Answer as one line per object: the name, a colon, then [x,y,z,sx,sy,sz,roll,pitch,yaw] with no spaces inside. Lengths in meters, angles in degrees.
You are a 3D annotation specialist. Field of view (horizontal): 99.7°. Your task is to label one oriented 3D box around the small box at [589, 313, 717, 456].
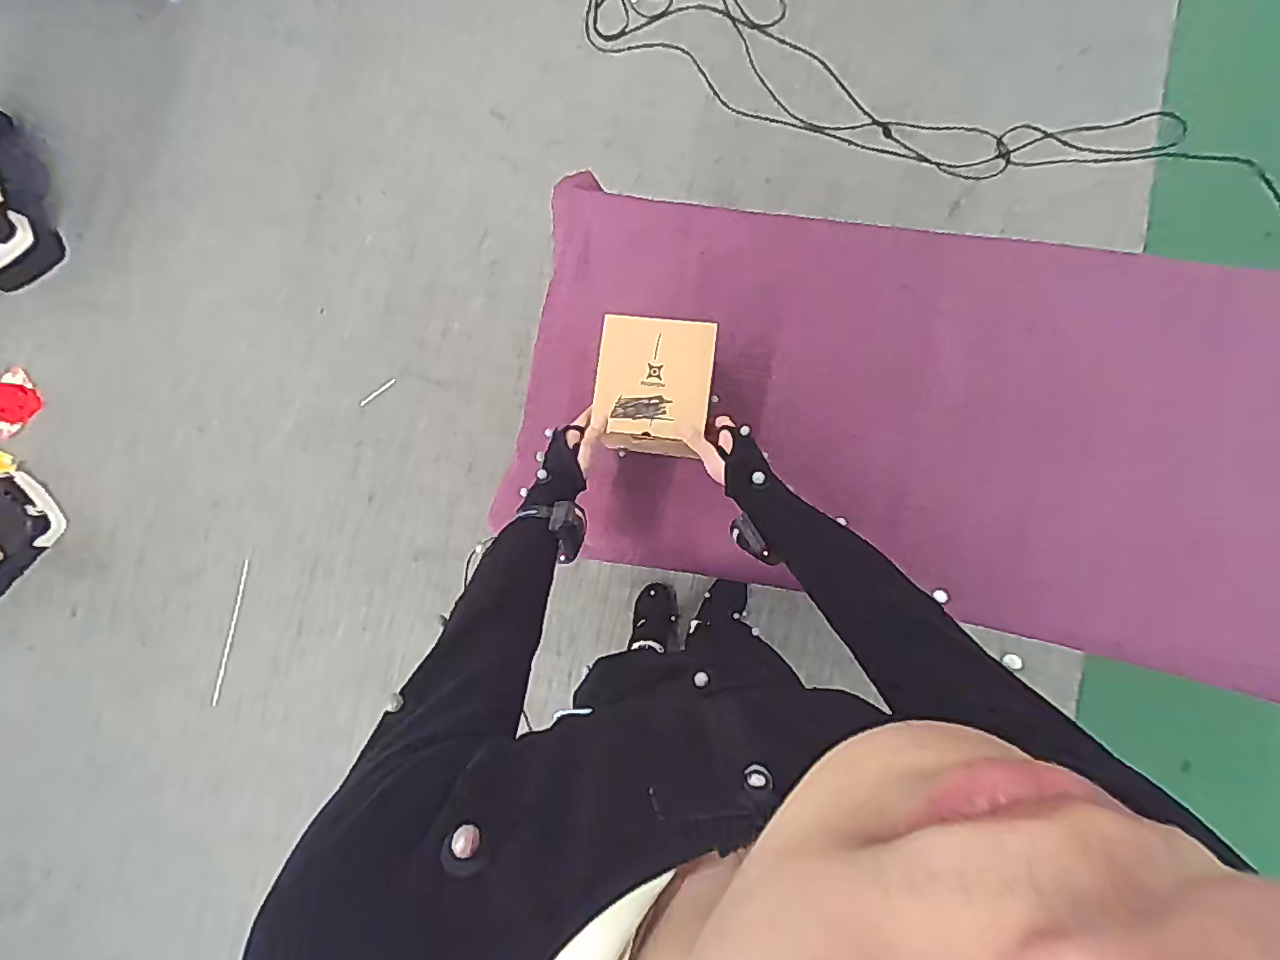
small box: [0.028,-0.139,0.843,0.168,0.176,0.179,7,85,6]
